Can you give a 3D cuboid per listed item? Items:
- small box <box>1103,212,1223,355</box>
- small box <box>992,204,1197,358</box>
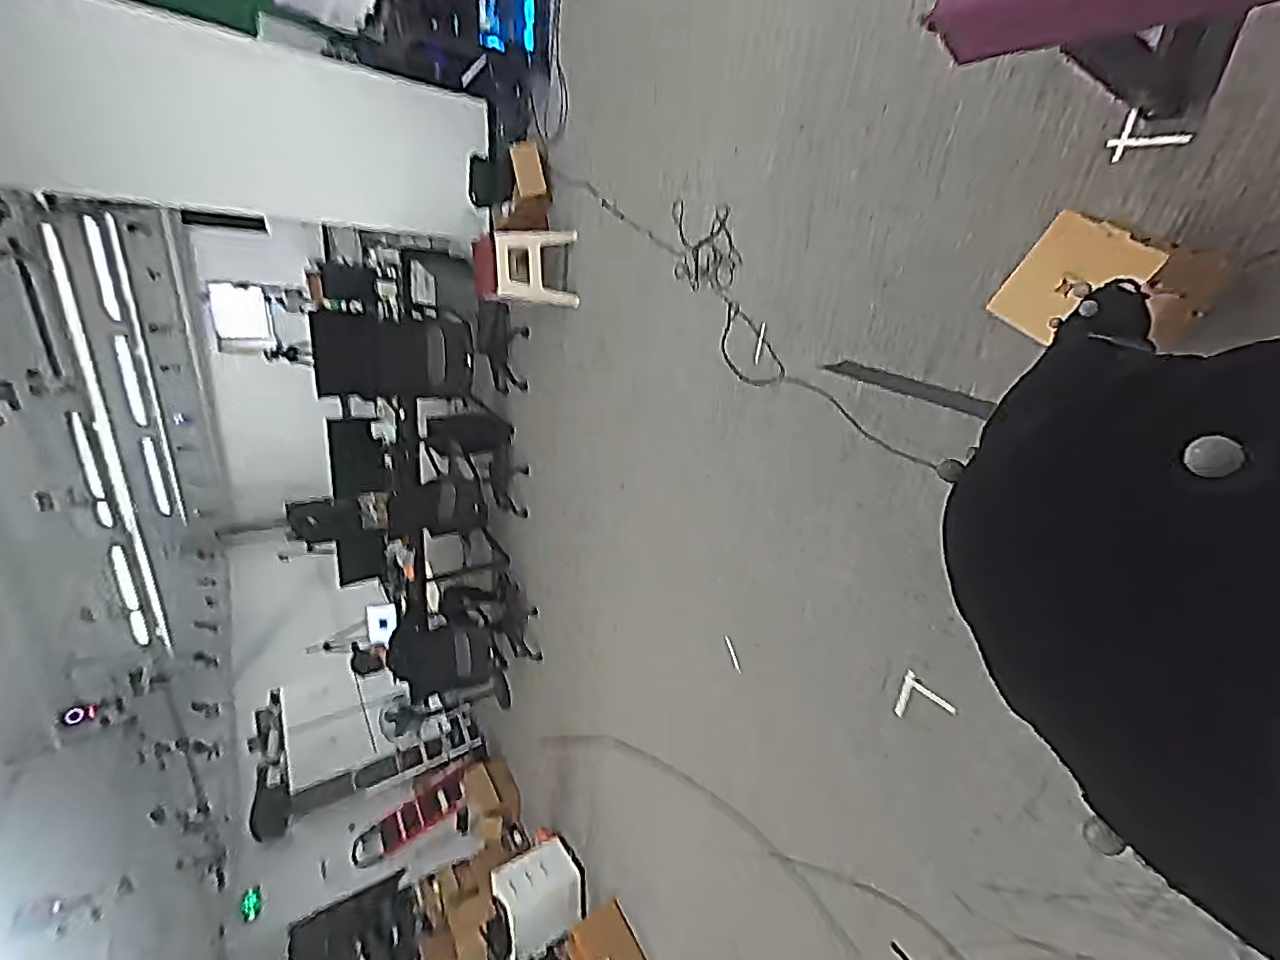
[{"bbox_3d":[0.871,-0.345,0.964,0.168,0.176,0.179,59,142,28],"label":"small box"},{"bbox_3d":[0.735,-0.317,0.878,0.168,0.176,0.179,54,138,33],"label":"small box"}]
